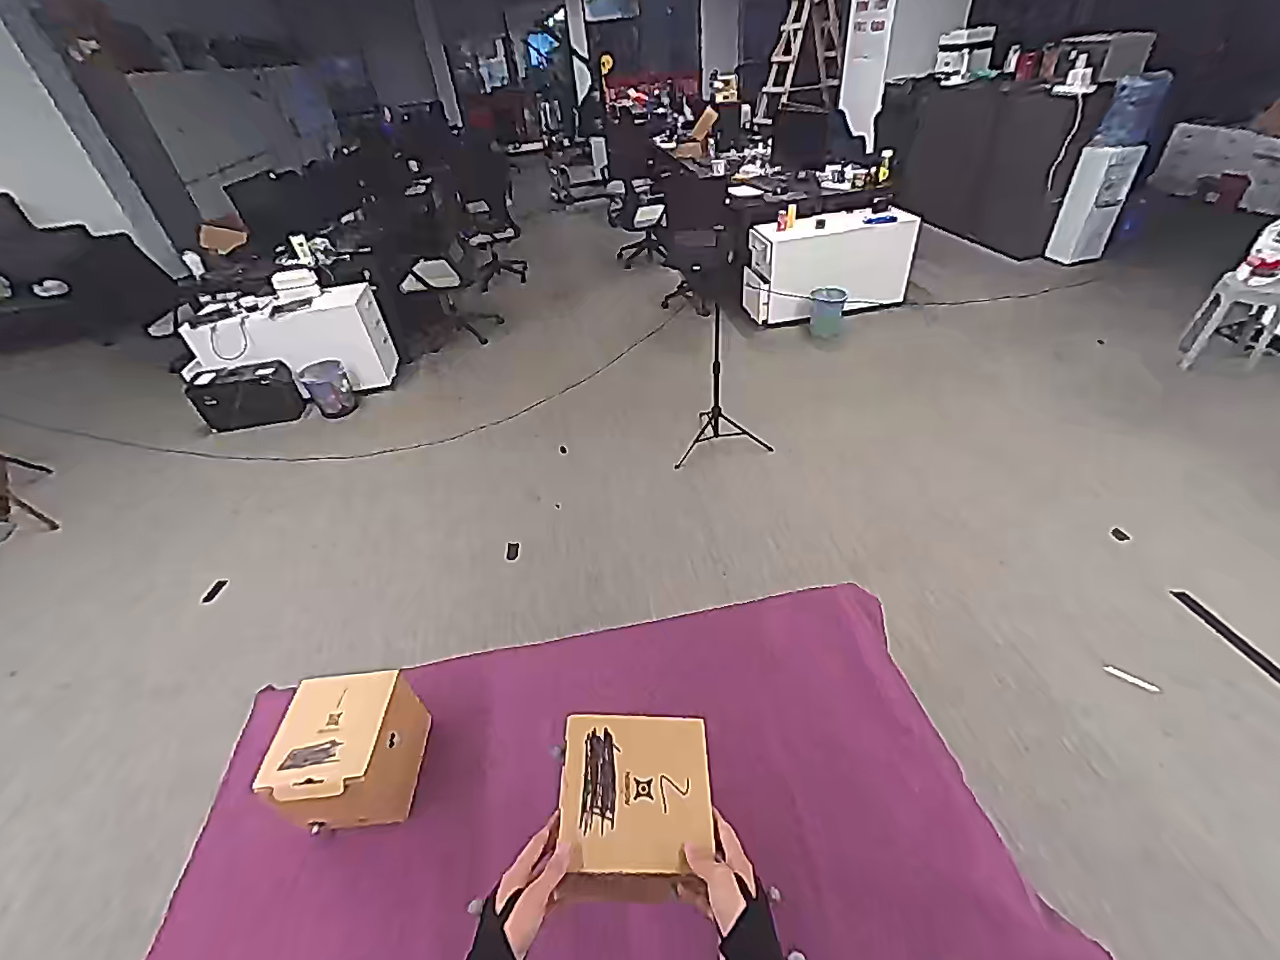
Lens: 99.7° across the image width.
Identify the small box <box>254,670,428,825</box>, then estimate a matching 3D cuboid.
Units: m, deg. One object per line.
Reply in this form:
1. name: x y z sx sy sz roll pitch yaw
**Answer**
1. small box: -0.467 0.440 0.882 0.168 0.176 0.179 -6 39 0
